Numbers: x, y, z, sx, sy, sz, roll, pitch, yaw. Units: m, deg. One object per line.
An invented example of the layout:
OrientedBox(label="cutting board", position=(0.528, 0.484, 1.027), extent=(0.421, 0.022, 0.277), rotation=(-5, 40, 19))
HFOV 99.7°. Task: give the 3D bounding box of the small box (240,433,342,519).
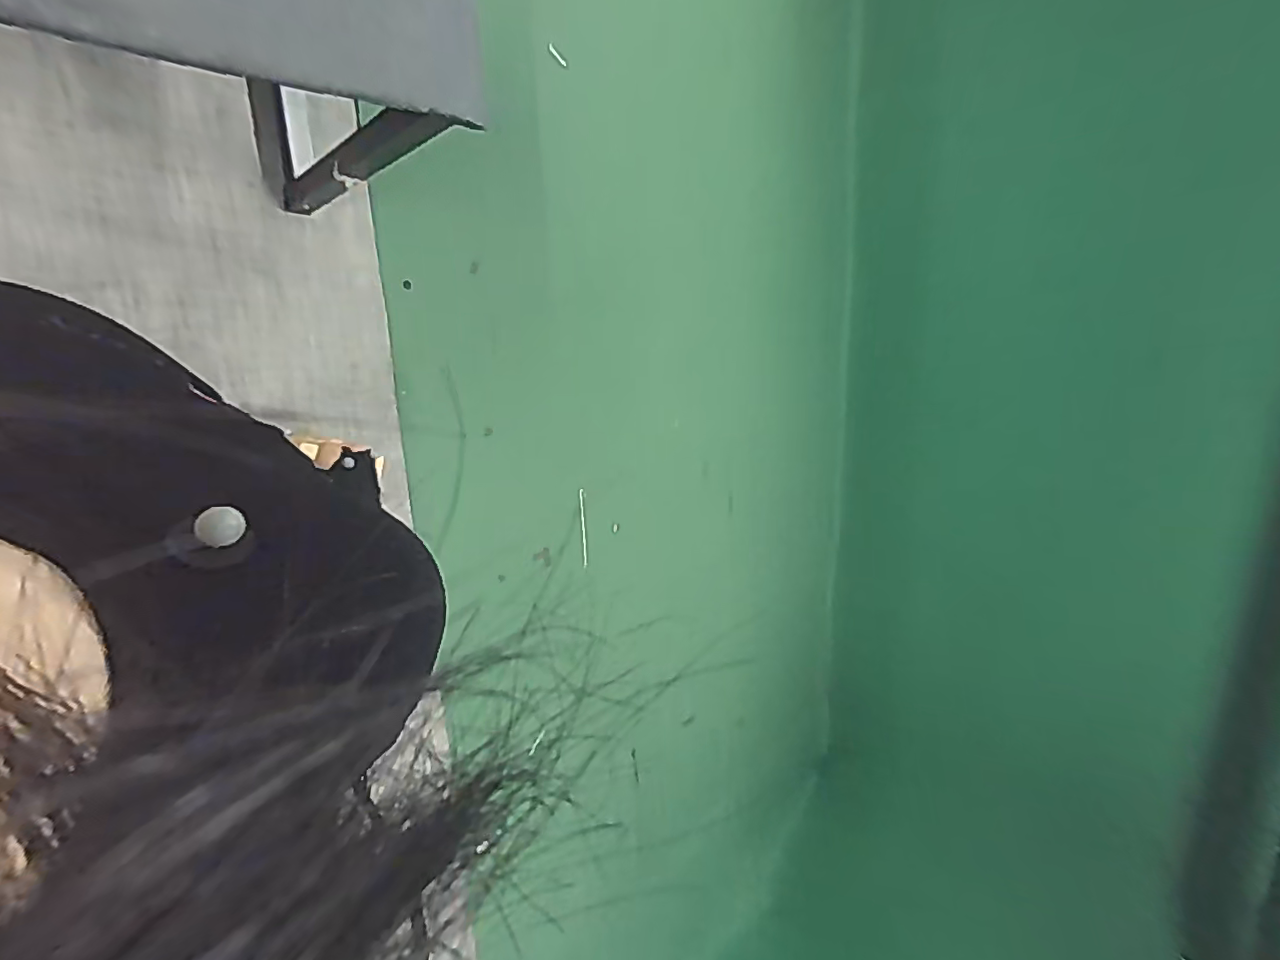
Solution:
OrientedBox(label="small box", position=(-0.814, -0.014, 1.261), extent=(0.168, 0.176, 0.179), rotation=(-3, 99, -48))
